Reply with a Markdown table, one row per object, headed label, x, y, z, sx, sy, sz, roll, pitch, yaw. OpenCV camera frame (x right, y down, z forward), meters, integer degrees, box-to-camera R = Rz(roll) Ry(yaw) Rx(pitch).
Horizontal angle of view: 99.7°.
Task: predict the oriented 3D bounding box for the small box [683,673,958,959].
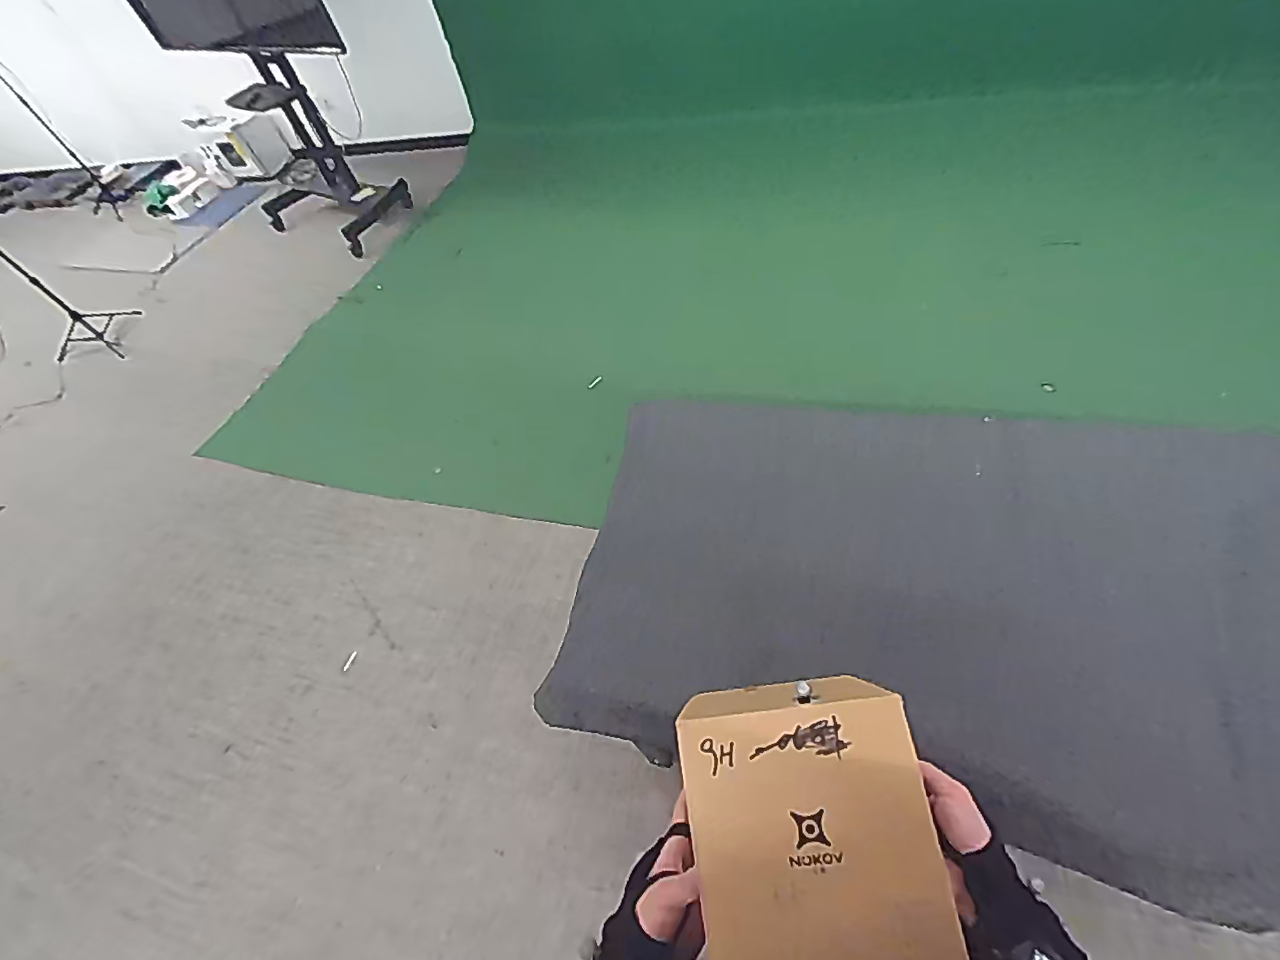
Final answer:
| label | x | y | z | sx | sy | sz | roll | pitch | yaw |
| --- | --- | --- | --- | --- | --- | --- | --- | --- | --- |
| small box | 0.135 | 0.273 | 0.463 | 0.168 | 0.176 | 0.179 | -9 | 75 | 6 |
